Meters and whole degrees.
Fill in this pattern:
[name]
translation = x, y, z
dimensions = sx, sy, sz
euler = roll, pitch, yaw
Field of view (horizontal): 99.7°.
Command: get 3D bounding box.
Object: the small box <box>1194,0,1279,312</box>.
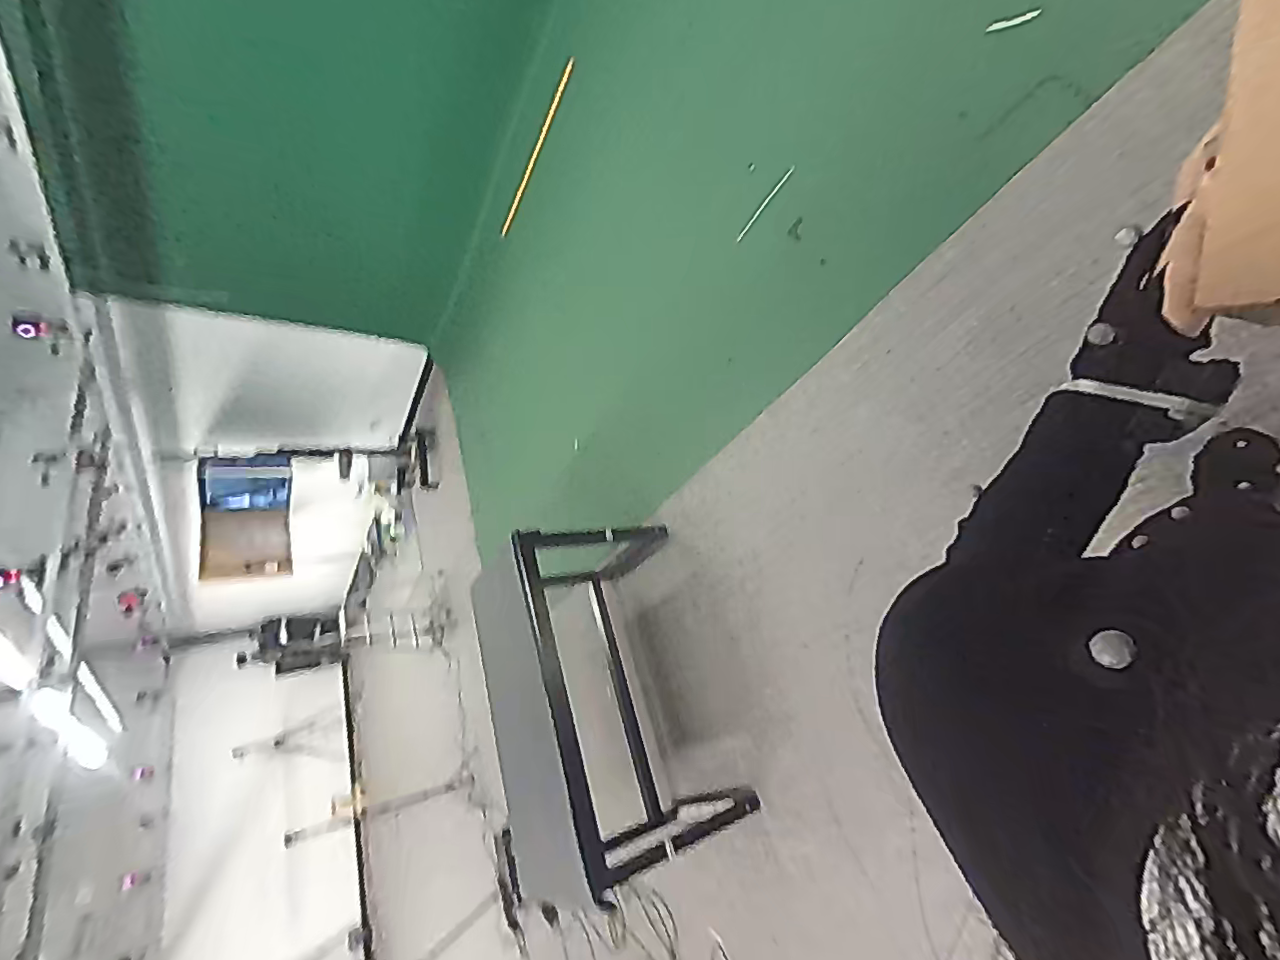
[small box]
translation = 0.416, -0.183, 0.262
dimensions = 0.168, 0.176, 0.179
euler = 10, 105, 58
